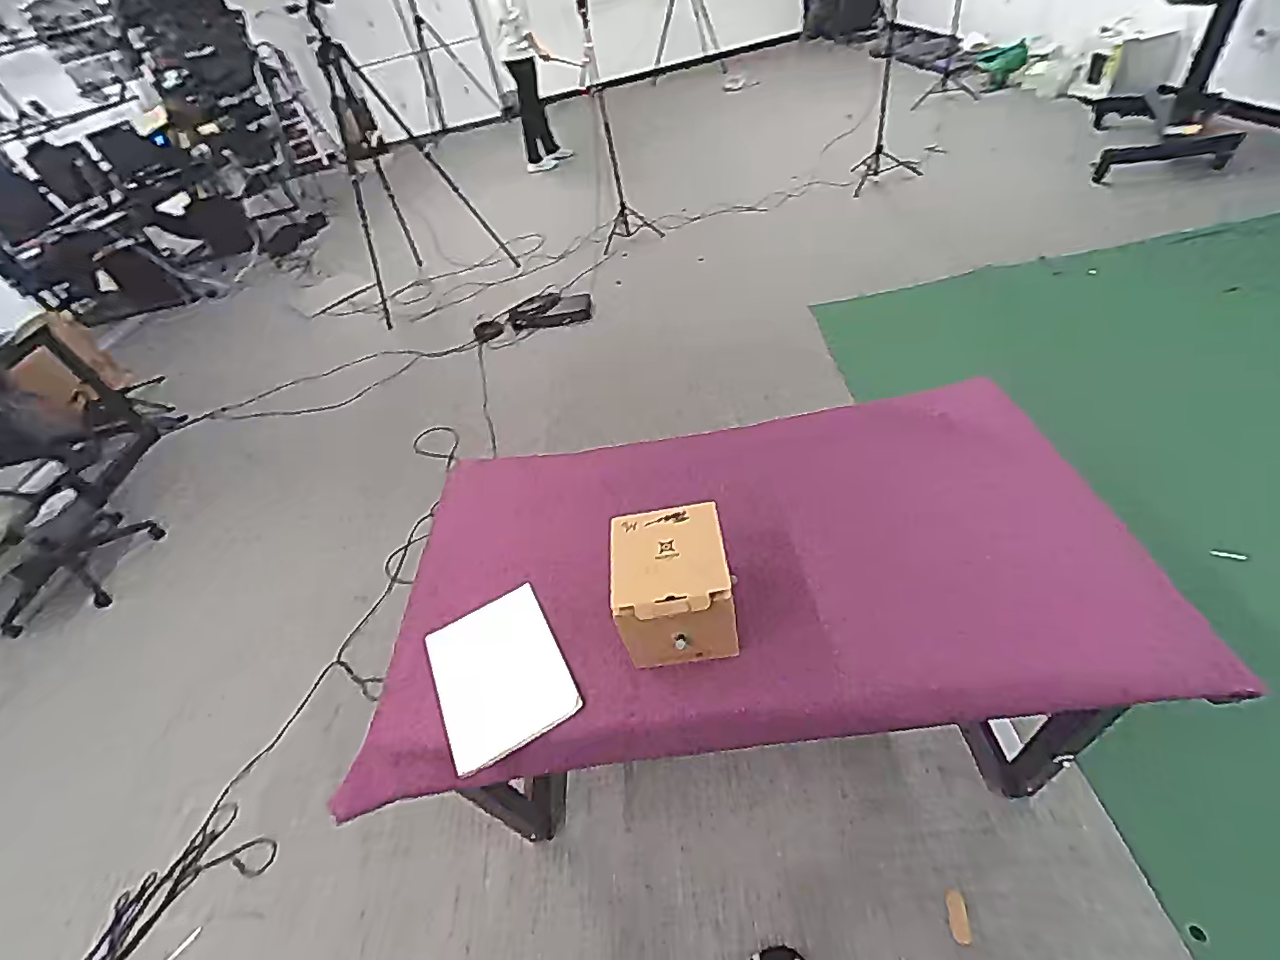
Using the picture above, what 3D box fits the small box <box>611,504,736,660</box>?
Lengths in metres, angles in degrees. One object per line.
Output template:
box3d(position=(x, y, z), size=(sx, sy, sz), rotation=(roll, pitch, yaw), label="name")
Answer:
box3d(position=(0.052, 0.166, 0.842), size=(0.168, 0.176, 0.179), rotation=(-9, 45, 6), label="small box")
